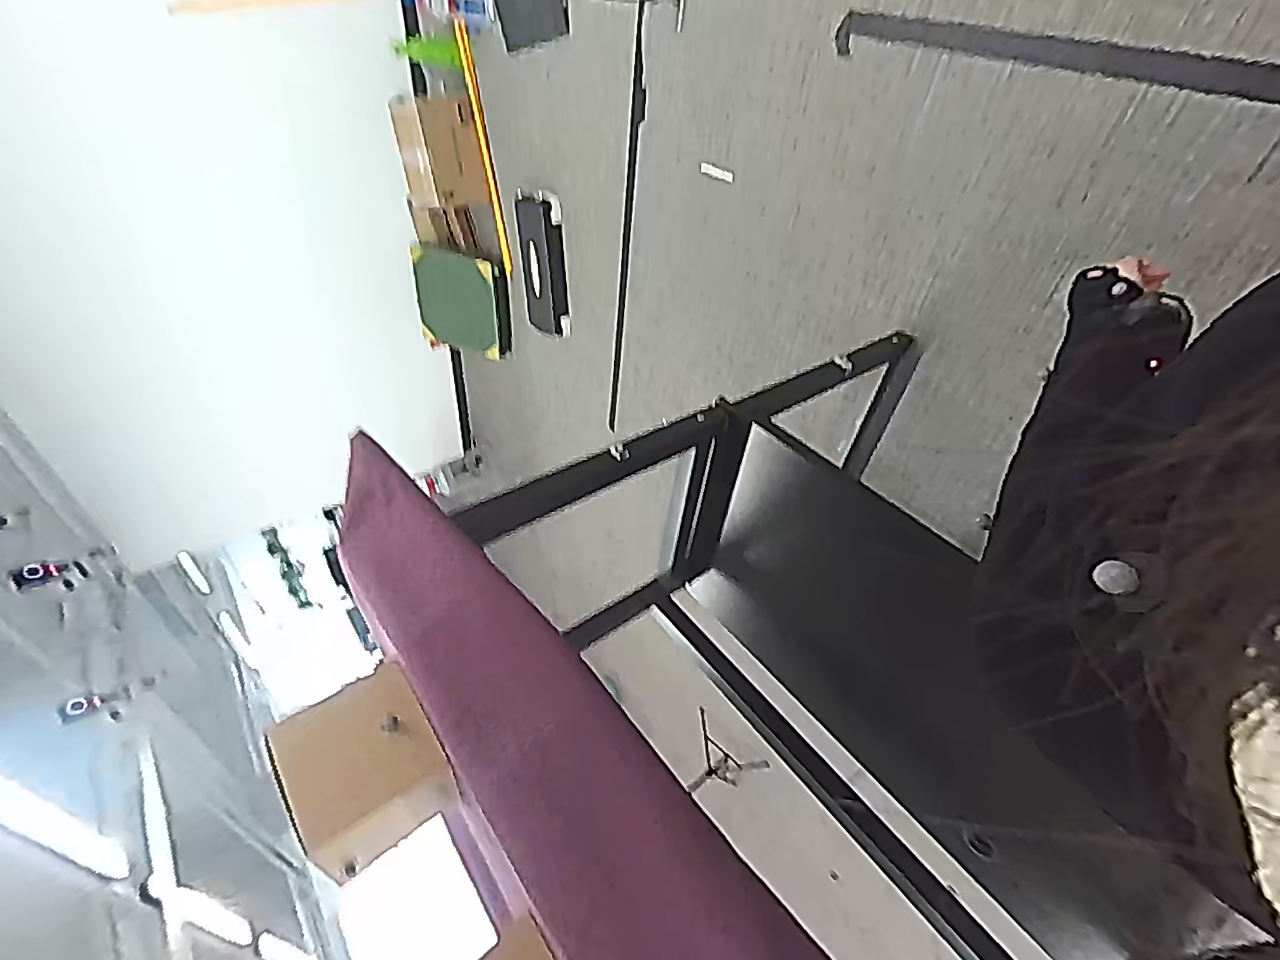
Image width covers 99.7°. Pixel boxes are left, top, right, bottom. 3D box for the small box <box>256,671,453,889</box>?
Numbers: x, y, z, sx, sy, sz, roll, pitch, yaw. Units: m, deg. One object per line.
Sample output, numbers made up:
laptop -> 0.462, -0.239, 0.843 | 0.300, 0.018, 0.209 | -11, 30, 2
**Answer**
small box -> -0.367, 0.383, 0.715 | 0.179, 0.176, 0.168 | 44, 143, 31
